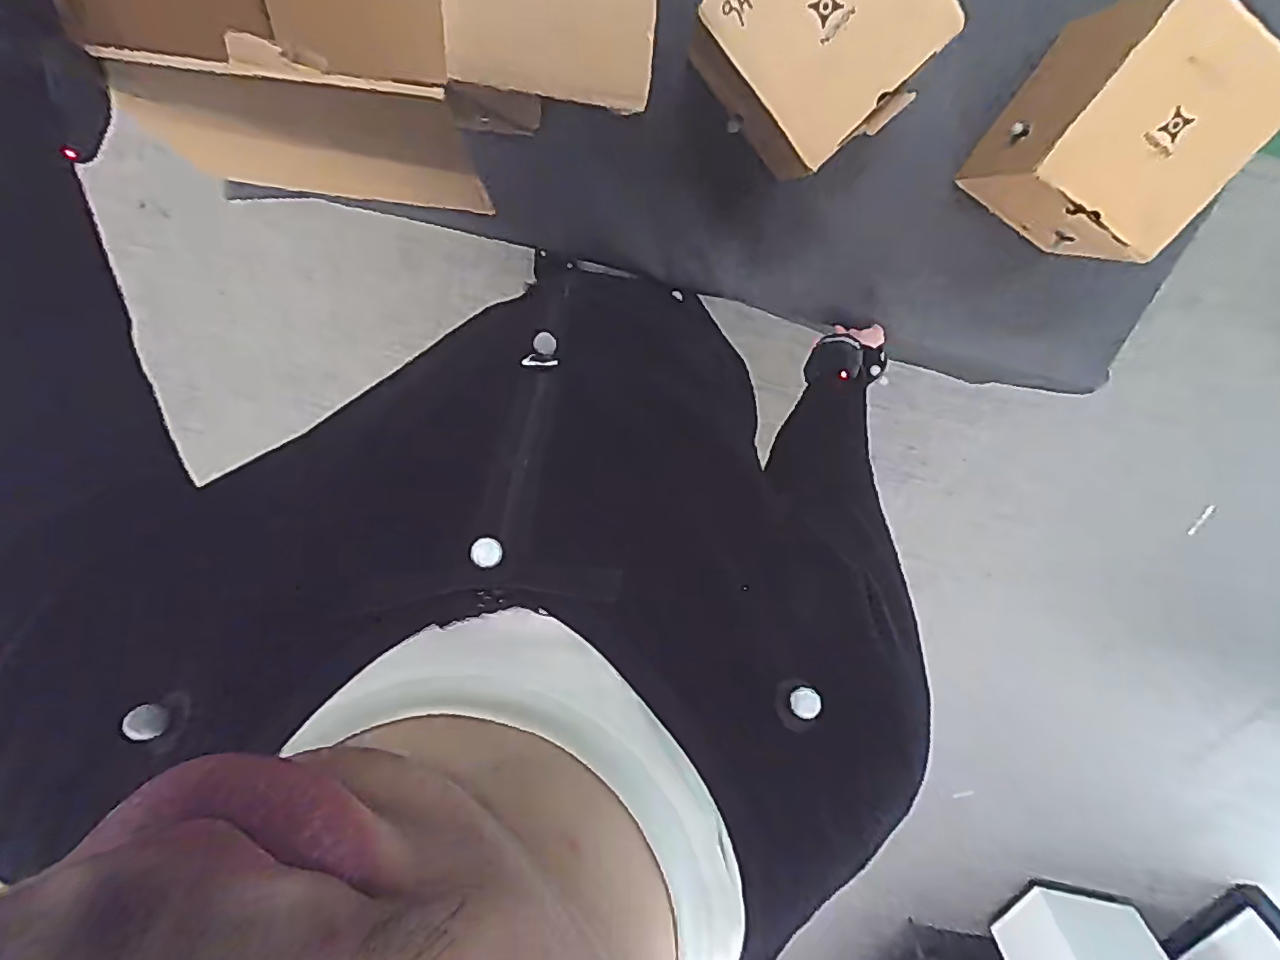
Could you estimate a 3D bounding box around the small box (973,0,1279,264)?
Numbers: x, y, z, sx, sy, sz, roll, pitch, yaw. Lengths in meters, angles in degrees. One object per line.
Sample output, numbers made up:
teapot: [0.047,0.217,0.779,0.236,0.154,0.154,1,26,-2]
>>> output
small box: [0.497,-0.357,0.573,0.168,0.176,0.179,28,114,-11]

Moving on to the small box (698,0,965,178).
small box: [0.177,-0.440,0.550,0.168,0.176,0.179,-39,109,19]
